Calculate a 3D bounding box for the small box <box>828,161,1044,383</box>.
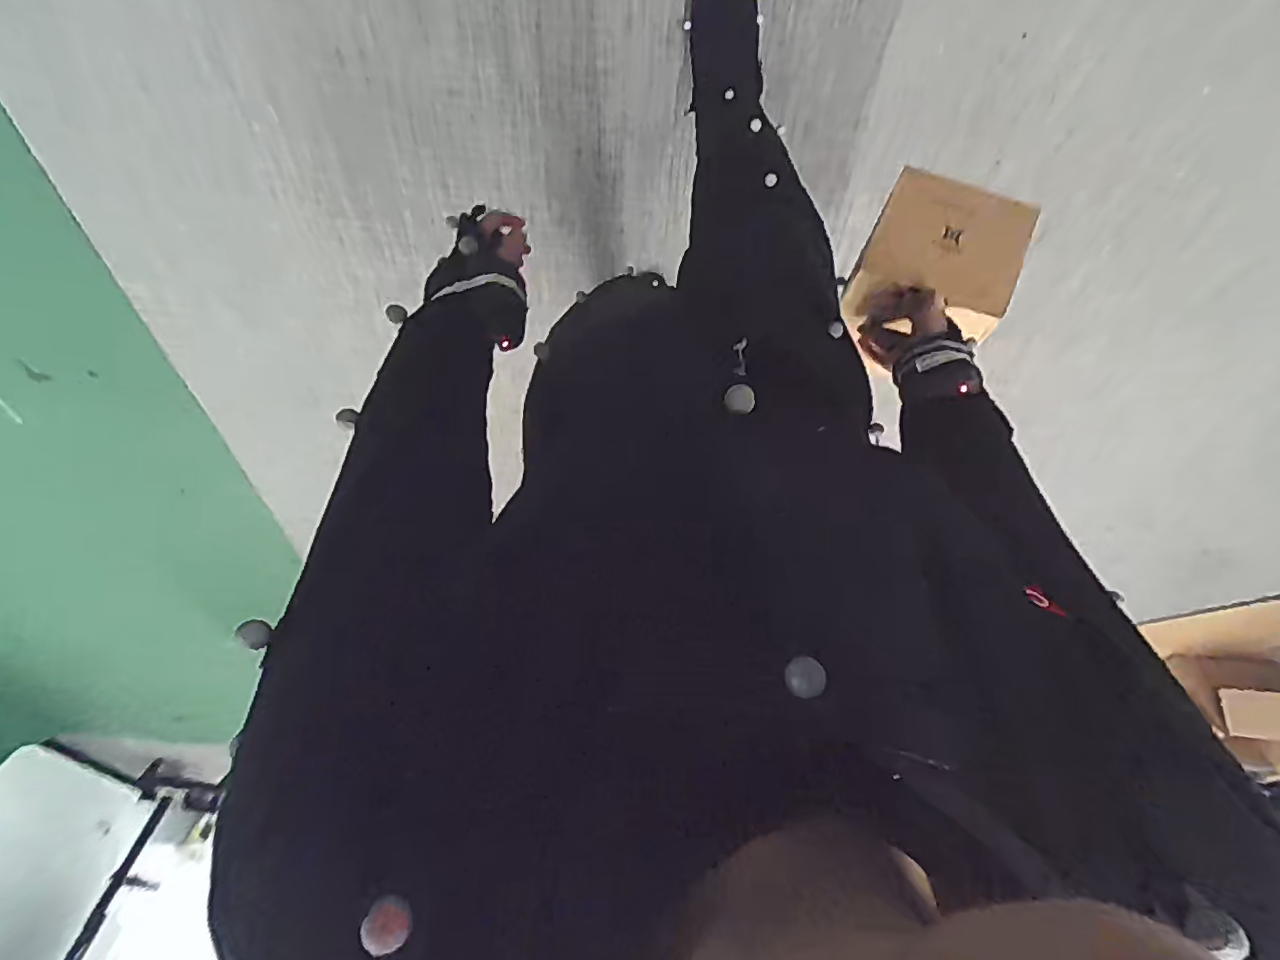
[{"bbox_3d":[0.357,-0.252,0.687,0.168,0.179,0.176,25,164,11],"label":"small box"}]
